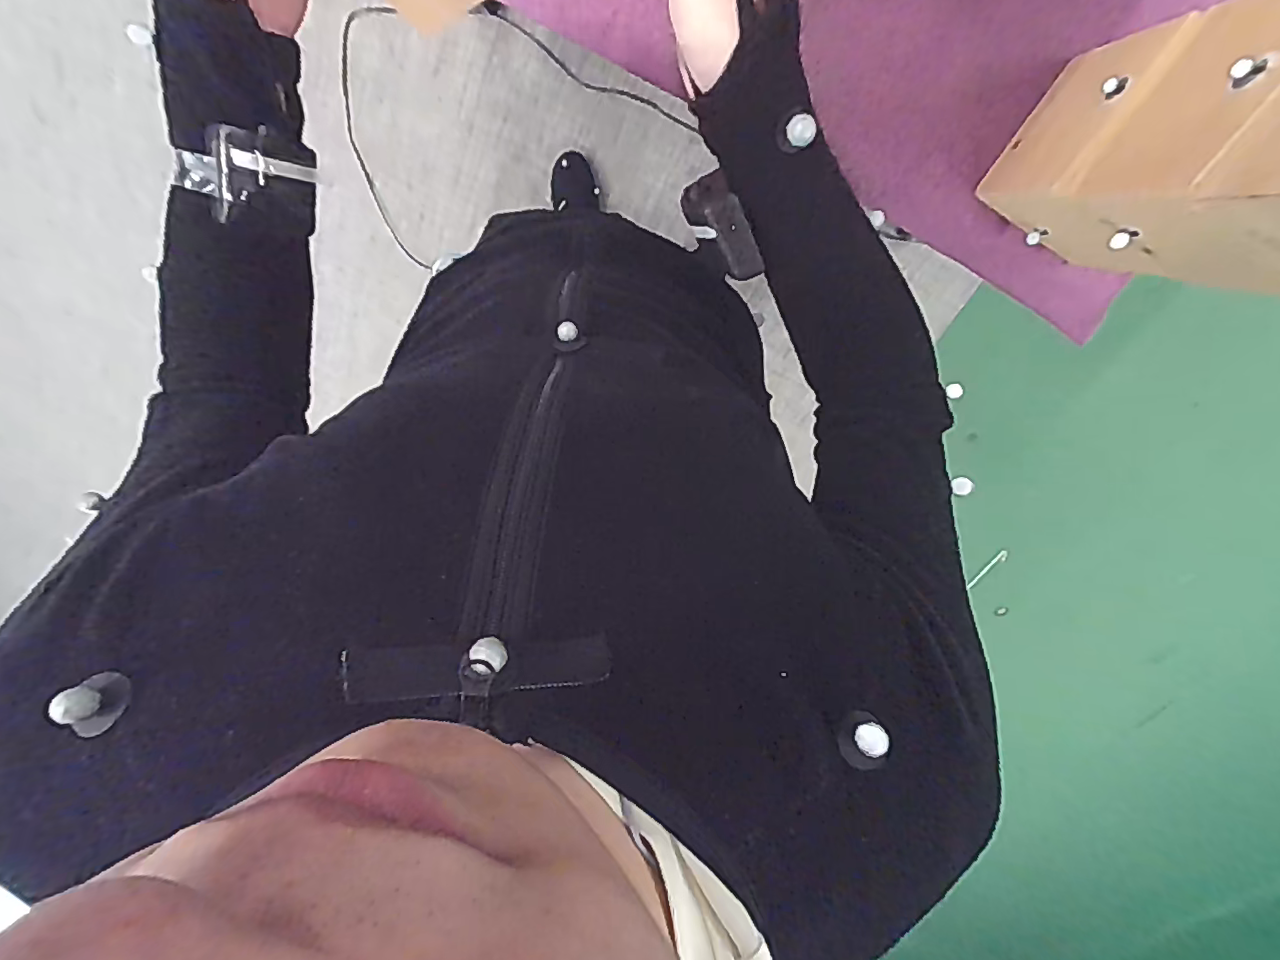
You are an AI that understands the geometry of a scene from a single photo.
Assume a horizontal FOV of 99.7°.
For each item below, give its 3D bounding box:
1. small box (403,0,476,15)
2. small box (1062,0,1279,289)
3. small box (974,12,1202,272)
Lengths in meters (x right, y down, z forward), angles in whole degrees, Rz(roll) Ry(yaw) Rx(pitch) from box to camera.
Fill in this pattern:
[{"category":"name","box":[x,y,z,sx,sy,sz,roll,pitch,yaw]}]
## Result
[{"category":"small box","box":[-0.102,-0.347,0.228,0.176,0.179,0.168,30,101,-43]},{"category":"small box","box":[0.530,-0.290,0.463,0.168,0.176,0.179,28,116,-9]},{"category":"small box","box":[0.535,-0.363,0.609,0.179,0.176,0.168,27,115,-11]}]
